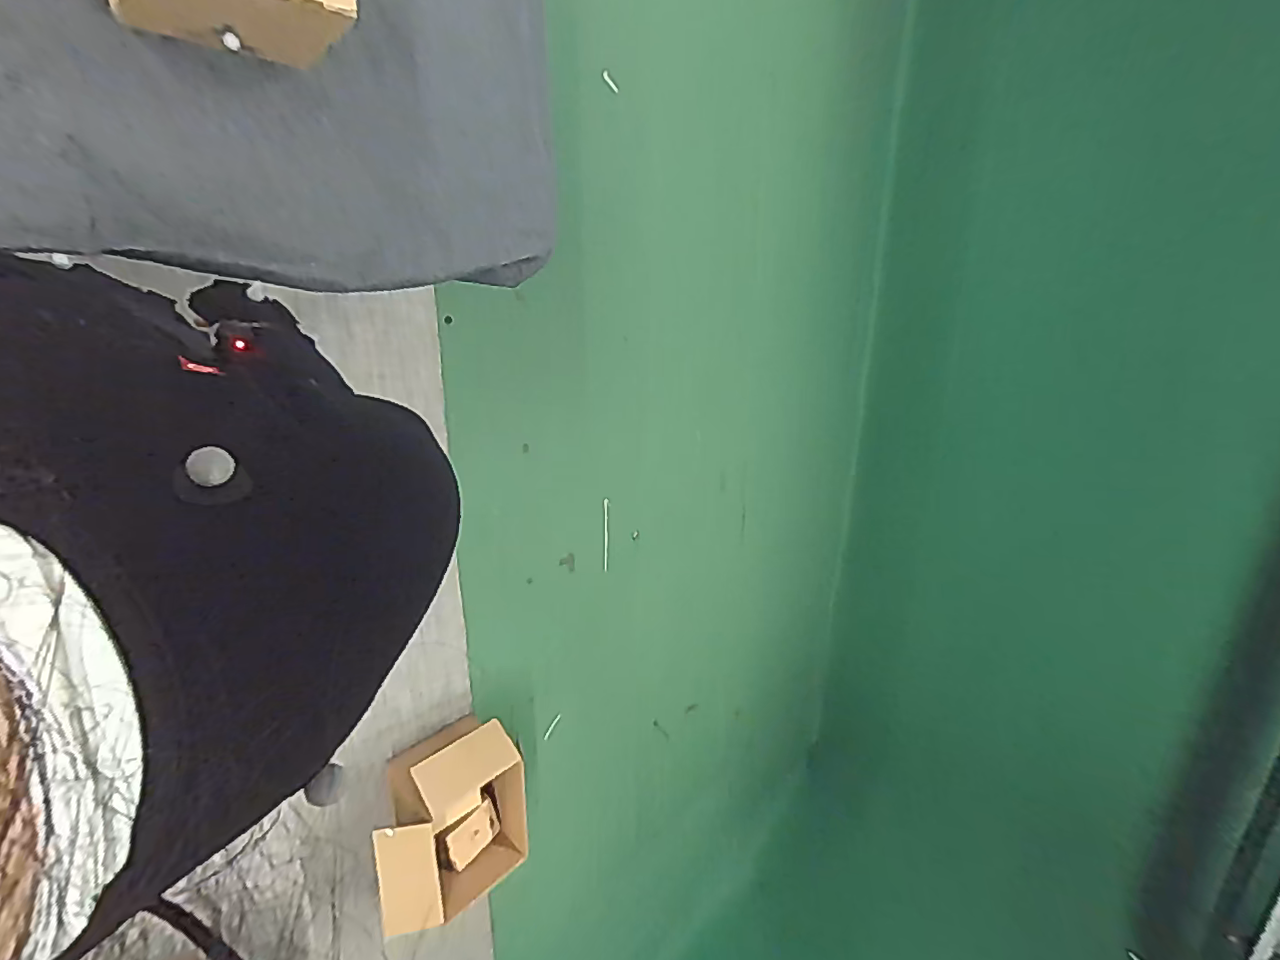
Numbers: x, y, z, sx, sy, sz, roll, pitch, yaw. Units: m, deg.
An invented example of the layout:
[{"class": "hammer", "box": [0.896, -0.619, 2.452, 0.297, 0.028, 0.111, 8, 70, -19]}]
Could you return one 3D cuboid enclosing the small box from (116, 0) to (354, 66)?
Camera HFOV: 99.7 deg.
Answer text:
[{"class": "small box", "box": [-0.393, -0.527, 0.496, 0.168, 0.176, 0.179, -19, 115, -43]}]
